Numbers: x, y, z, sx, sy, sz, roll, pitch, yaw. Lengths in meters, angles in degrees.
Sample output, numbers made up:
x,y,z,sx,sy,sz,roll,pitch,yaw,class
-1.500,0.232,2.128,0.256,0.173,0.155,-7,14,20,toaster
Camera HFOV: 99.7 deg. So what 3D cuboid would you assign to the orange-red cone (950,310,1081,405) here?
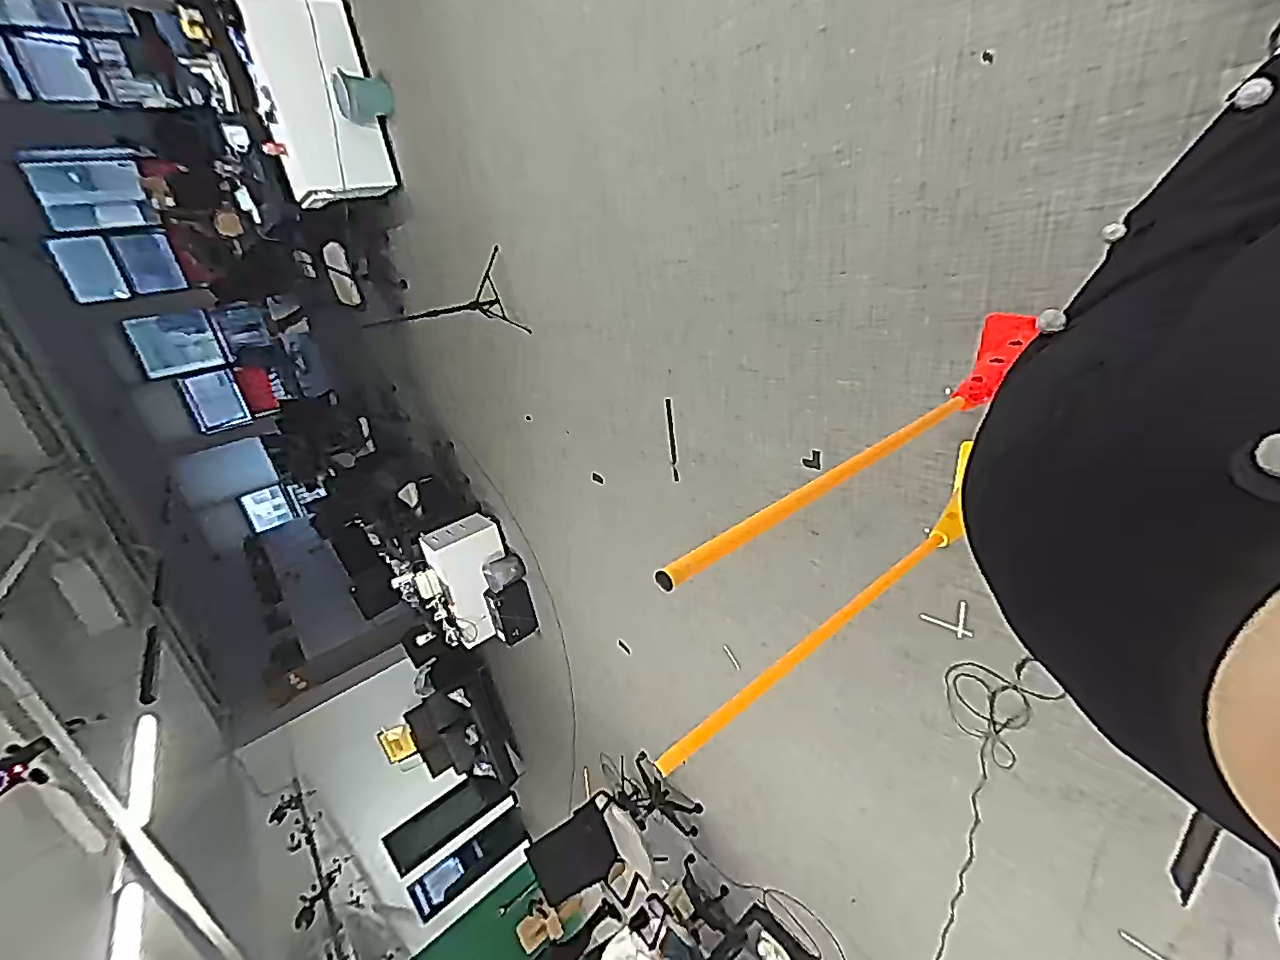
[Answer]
x,y,z,sx,sy,sz,roll,pitch,yaw,class
0.768,-0.232,1.178,0.198,0.360,0.199,27,130,42,orange-red cone
